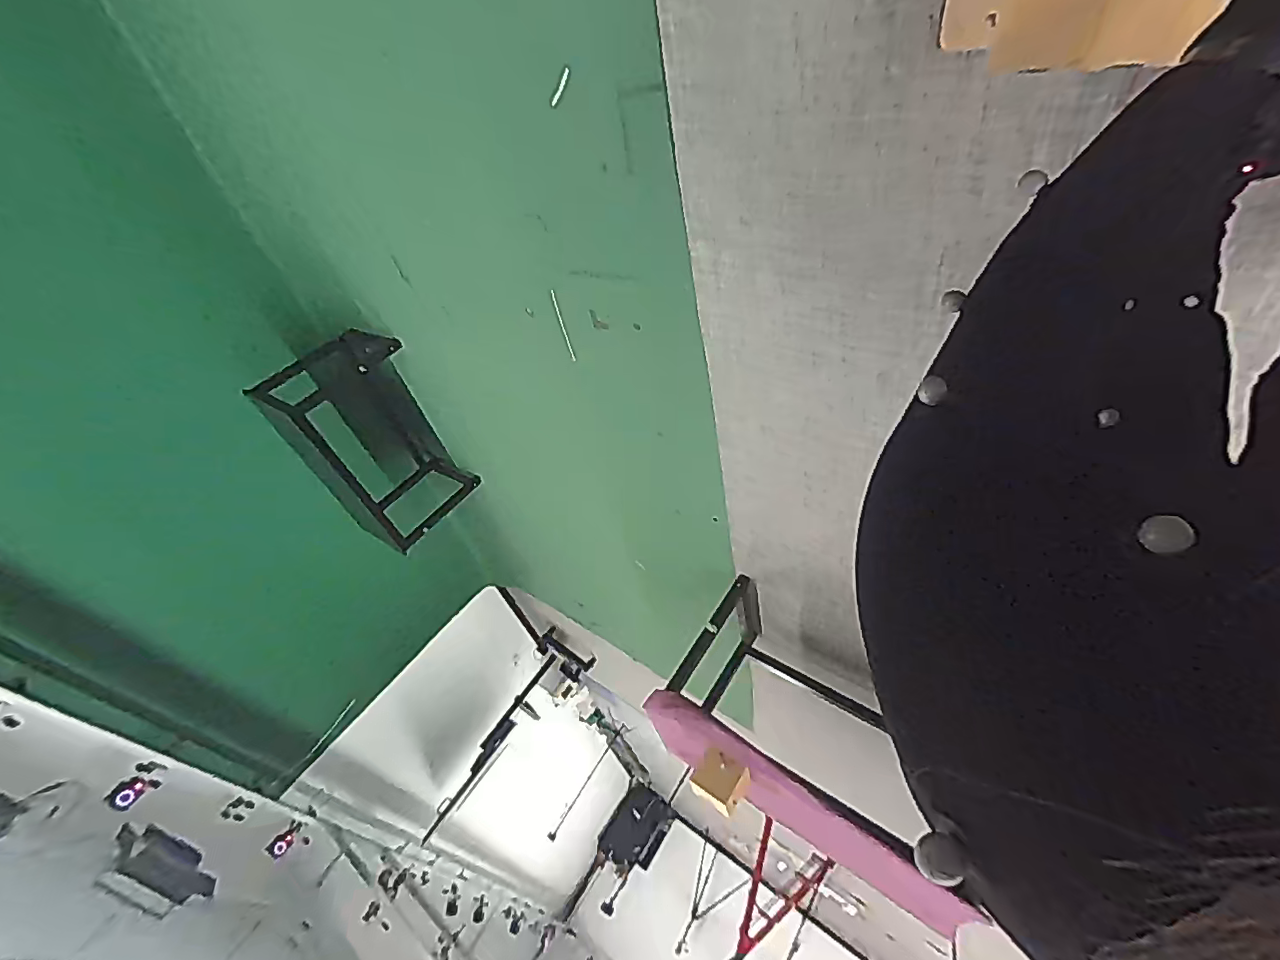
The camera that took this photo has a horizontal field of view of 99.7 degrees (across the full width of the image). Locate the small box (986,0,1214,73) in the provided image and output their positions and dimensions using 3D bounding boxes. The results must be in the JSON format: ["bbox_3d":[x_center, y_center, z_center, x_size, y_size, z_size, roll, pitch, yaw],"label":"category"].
[{"bbox_3d":[0.458,-0.514,0.507,0.168,0.176,0.179,22,147,30],"label":"small box"}]

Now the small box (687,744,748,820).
[{"bbox_3d":[0.304,1.157,2.080,0.168,0.176,0.179,21,144,32],"label":"small box"}]
